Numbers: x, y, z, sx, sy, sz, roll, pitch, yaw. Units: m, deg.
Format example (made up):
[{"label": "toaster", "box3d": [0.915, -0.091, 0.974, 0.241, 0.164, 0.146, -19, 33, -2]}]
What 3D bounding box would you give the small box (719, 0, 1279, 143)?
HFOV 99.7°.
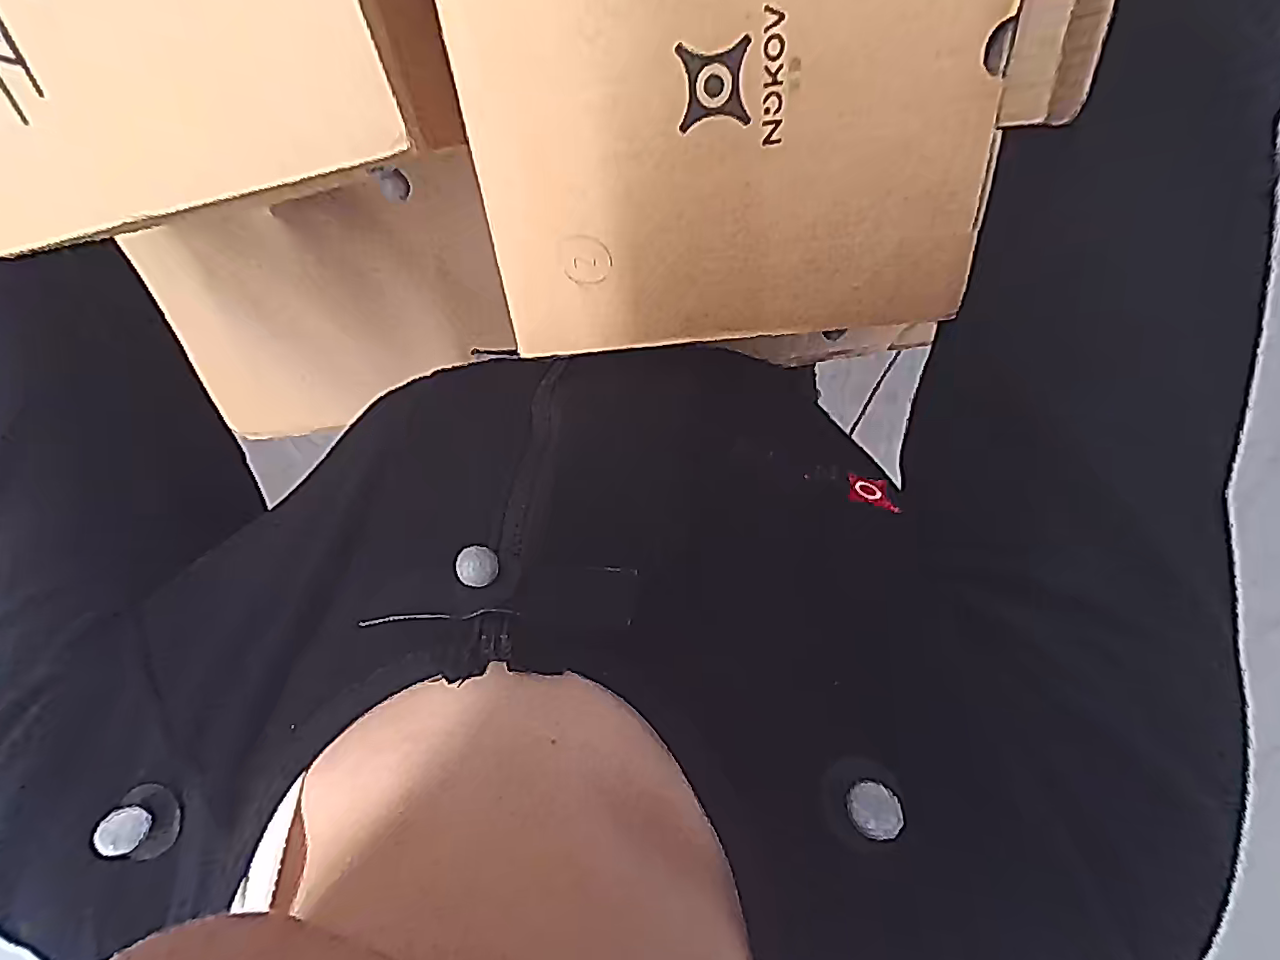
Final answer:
[{"label": "small box", "box3d": [0.130, -0.227, 0.175, 0.179, 0.176, 0.168, 8, 130, -3]}]
